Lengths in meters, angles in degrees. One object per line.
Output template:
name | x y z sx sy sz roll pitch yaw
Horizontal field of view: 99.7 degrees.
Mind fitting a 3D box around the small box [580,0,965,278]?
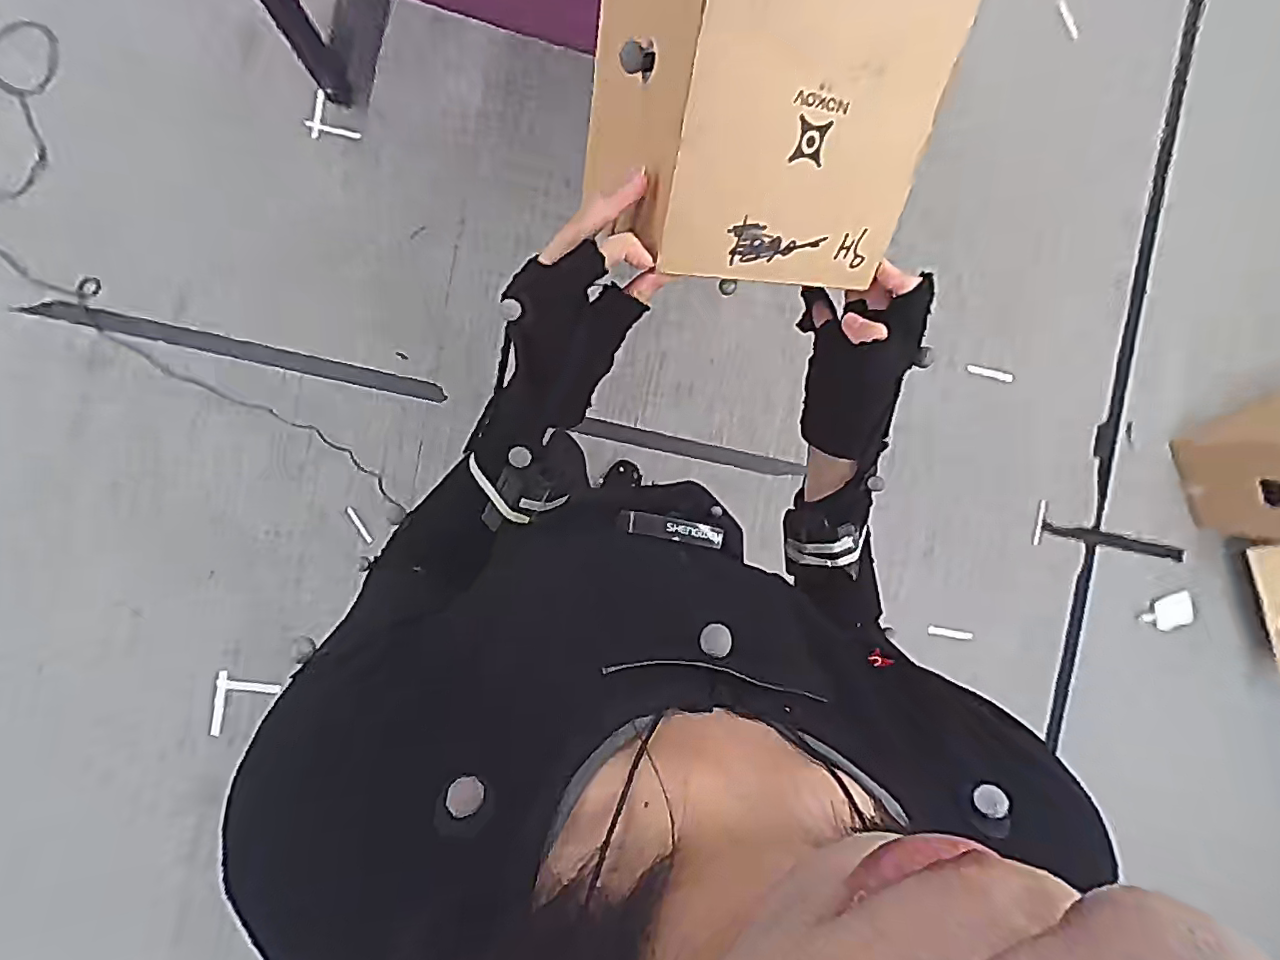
small box | 0.064 -0.247 0.356 0.168 0.176 0.179 -5 124 -21
